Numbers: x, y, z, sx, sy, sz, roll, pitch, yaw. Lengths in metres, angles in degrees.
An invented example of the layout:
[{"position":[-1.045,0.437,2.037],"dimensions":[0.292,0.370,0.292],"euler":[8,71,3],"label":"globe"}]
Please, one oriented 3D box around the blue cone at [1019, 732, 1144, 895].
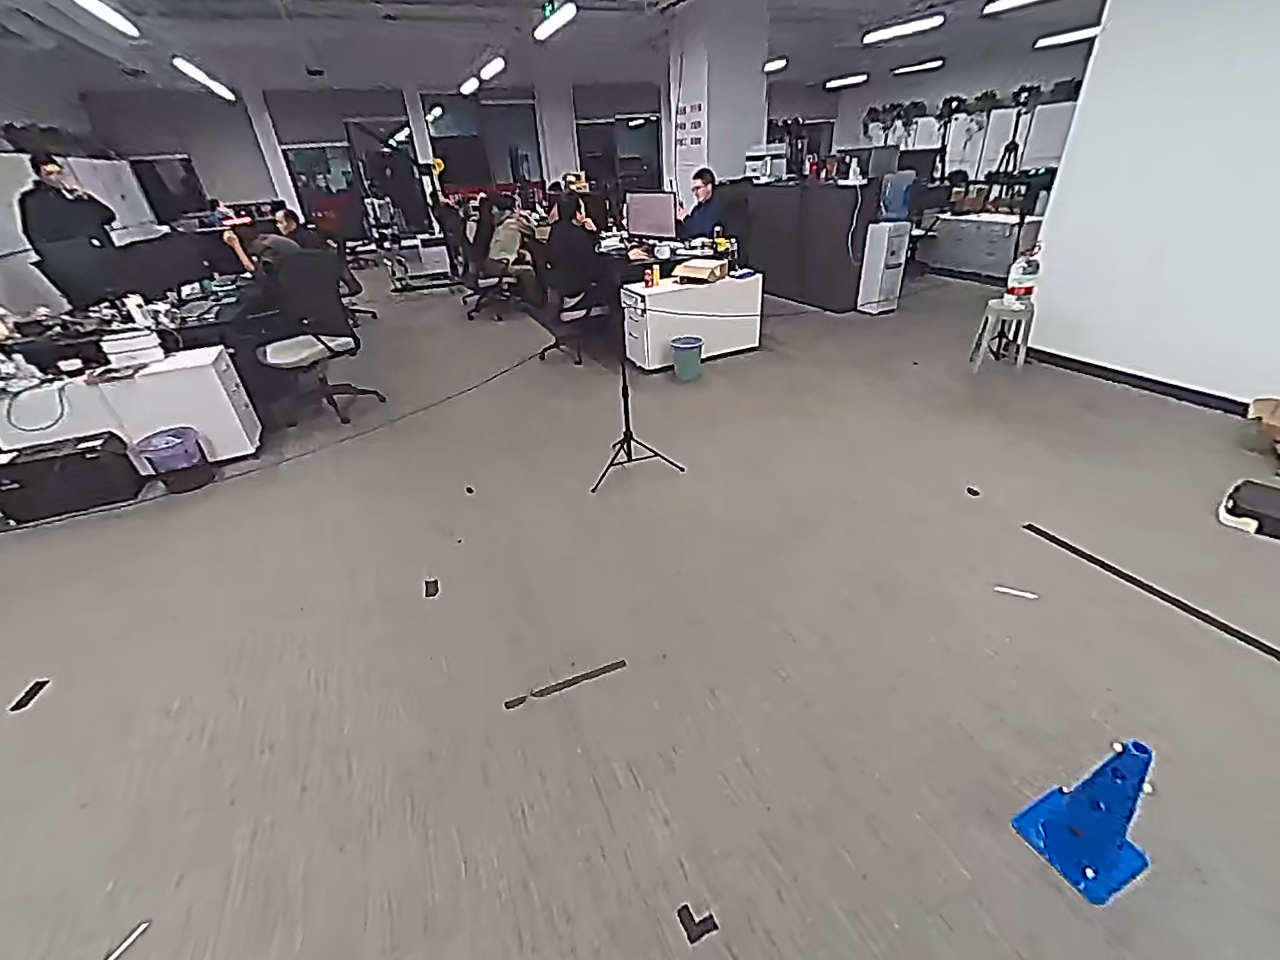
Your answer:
[{"position":[1.001,0.684,1.161],"dimensions":[0.193,0.380,0.192],"euler":[-15,31,-18],"label":"blue cone"}]
